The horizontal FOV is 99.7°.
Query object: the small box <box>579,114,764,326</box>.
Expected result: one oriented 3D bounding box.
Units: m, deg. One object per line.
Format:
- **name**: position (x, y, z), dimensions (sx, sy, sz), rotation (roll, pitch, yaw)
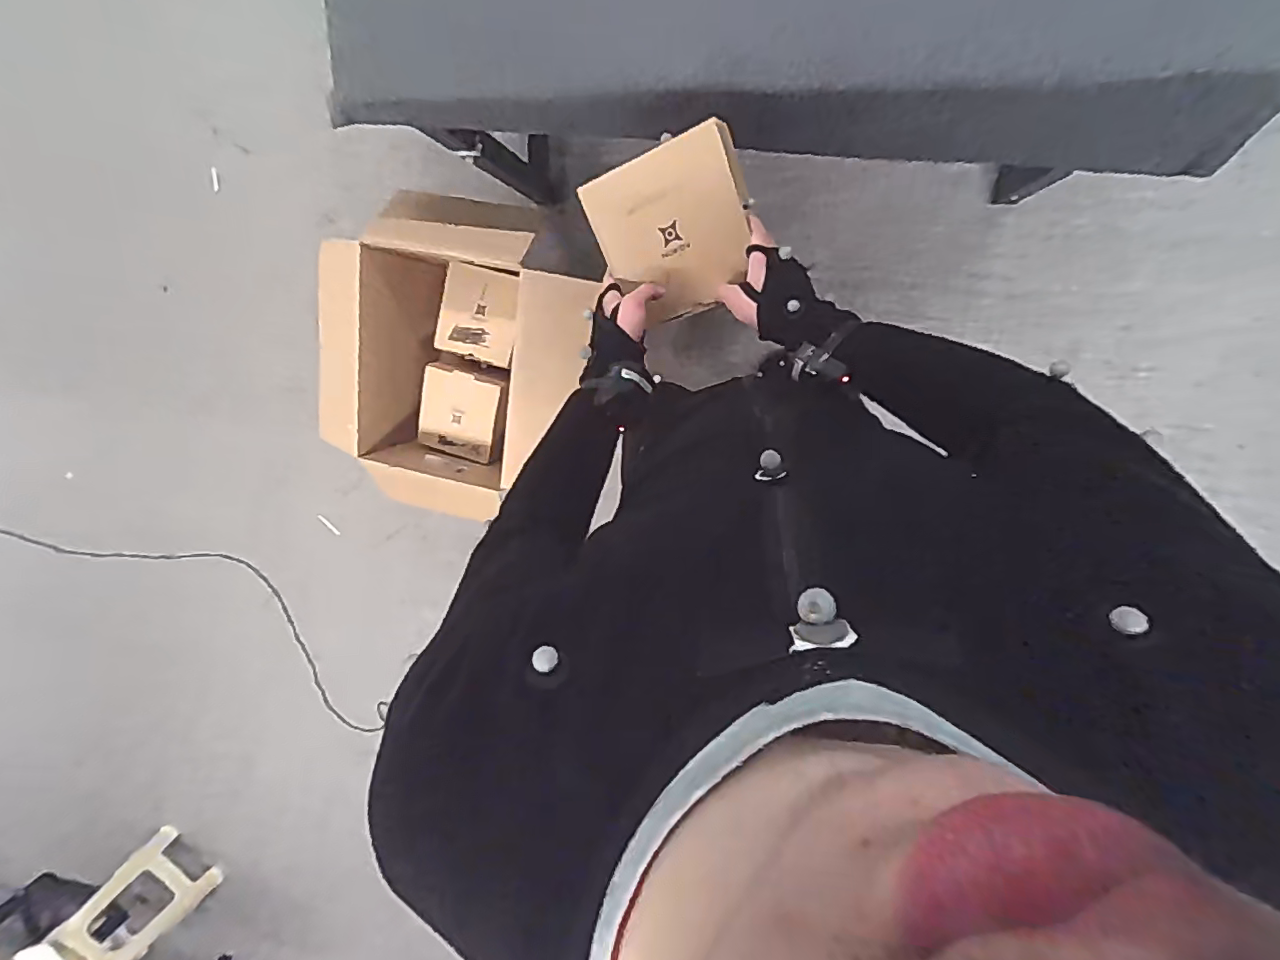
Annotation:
- **small box**: position (0.053, -0.321, 0.672), dimensions (0.168, 0.176, 0.179), rotation (-16, 115, 21)
